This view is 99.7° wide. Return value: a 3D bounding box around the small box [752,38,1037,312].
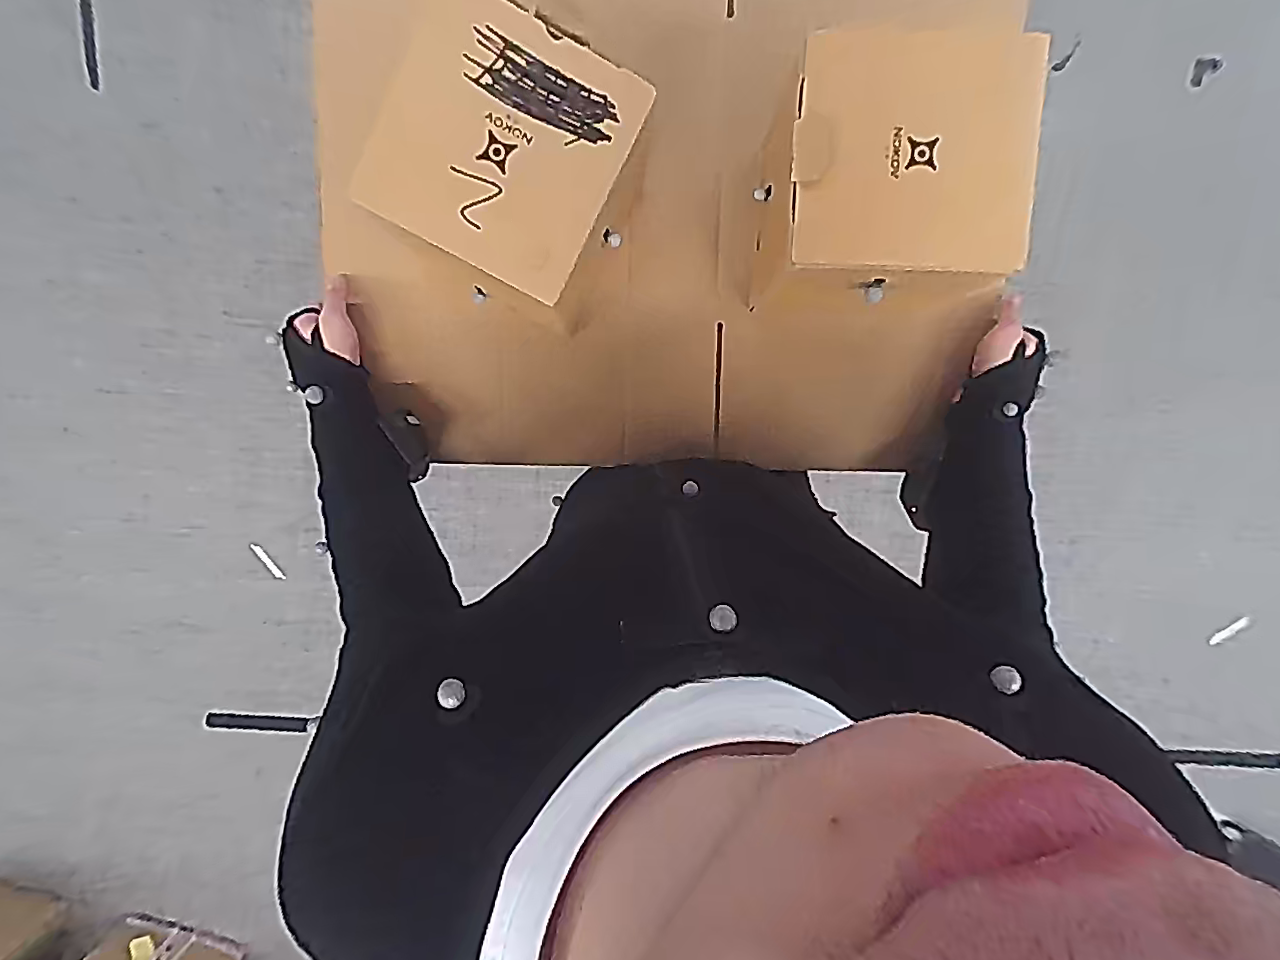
[{"bbox_3d":[0.208,-0.254,0.492,0.179,0.176,0.168,2,96,2],"label":"small box"}]
